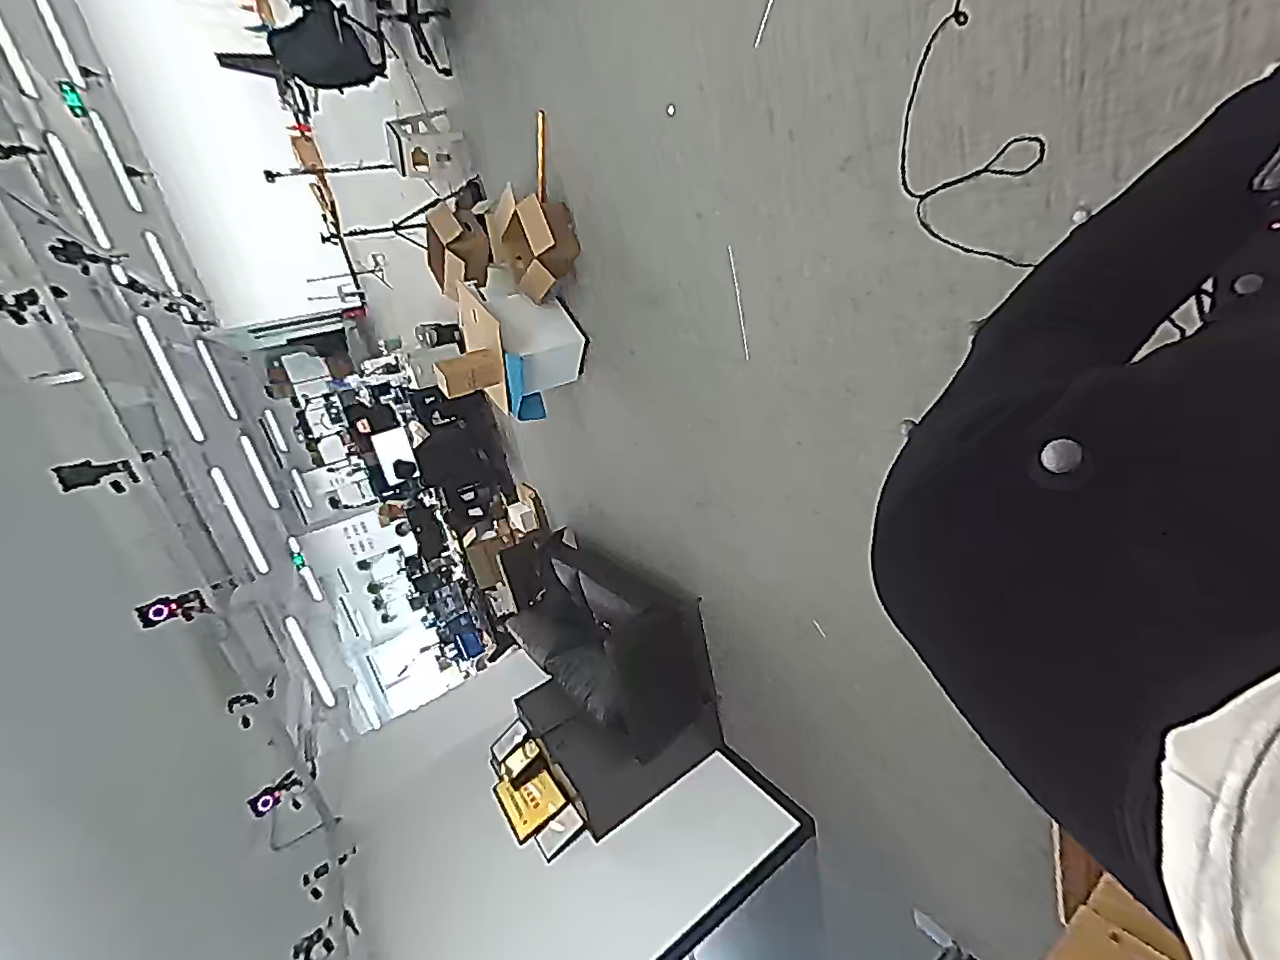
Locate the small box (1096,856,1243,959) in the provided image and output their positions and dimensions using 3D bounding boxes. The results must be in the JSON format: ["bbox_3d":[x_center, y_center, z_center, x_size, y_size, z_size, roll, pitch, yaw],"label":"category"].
[{"bbox_3d":[1.004,0.877,1.029,0.168,0.176,0.179,8,120,59],"label":"small box"}]

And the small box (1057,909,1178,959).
[{"bbox_3d":[0.870,0.934,0.957,0.168,0.176,0.179,8,118,59],"label":"small box"}]

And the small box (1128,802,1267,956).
[{"bbox_3d":[1.135,0.816,1.105,0.168,0.176,0.179,11,121,57],"label":"small box"}]
